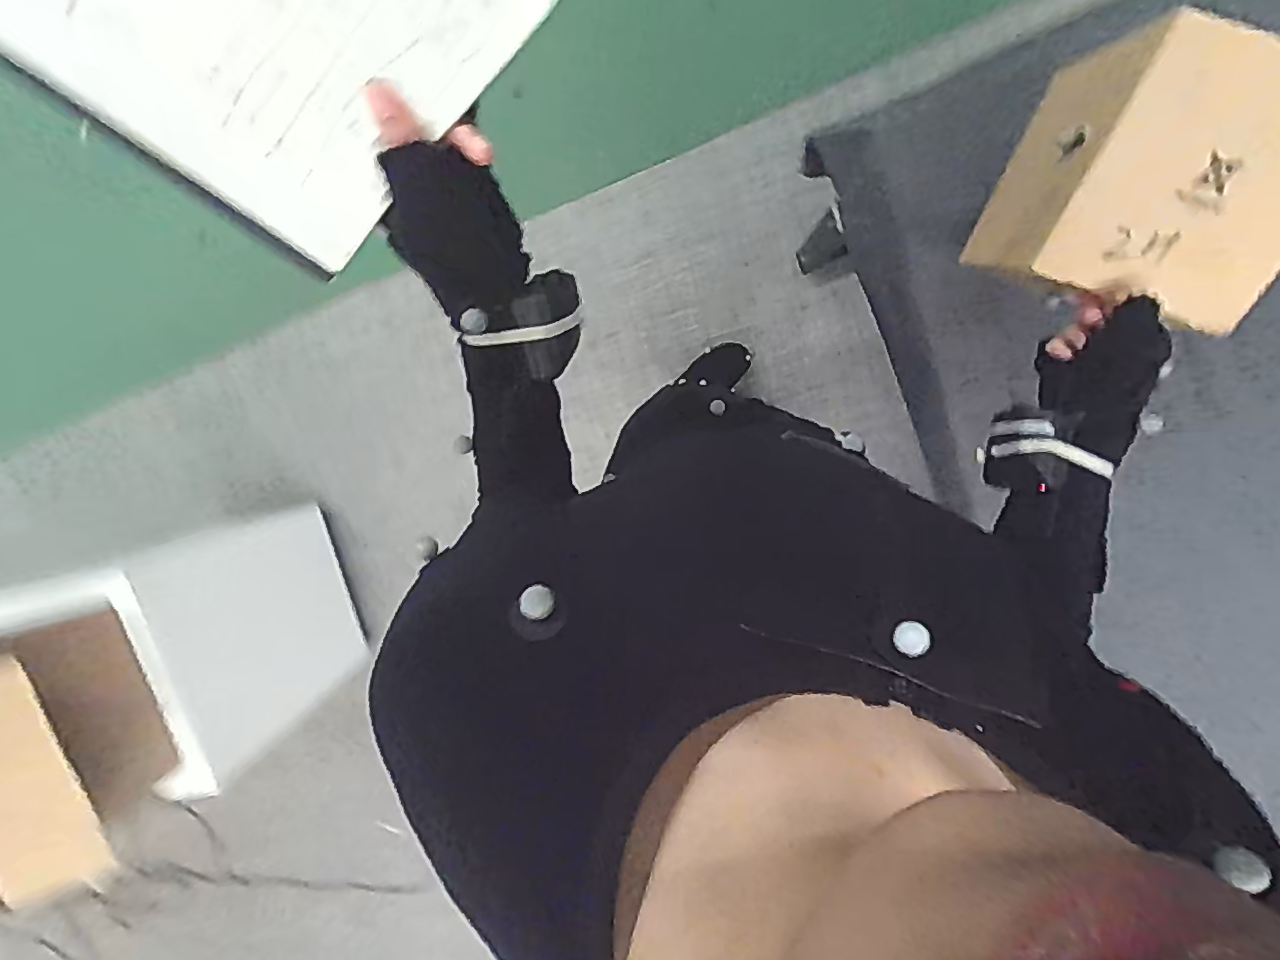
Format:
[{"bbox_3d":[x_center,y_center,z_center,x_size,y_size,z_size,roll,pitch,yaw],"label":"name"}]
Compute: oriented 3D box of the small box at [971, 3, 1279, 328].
[{"bbox_3d":[0.430,-0.253,0.469,0.168,0.176,0.179,19,116,3],"label":"small box"}]
